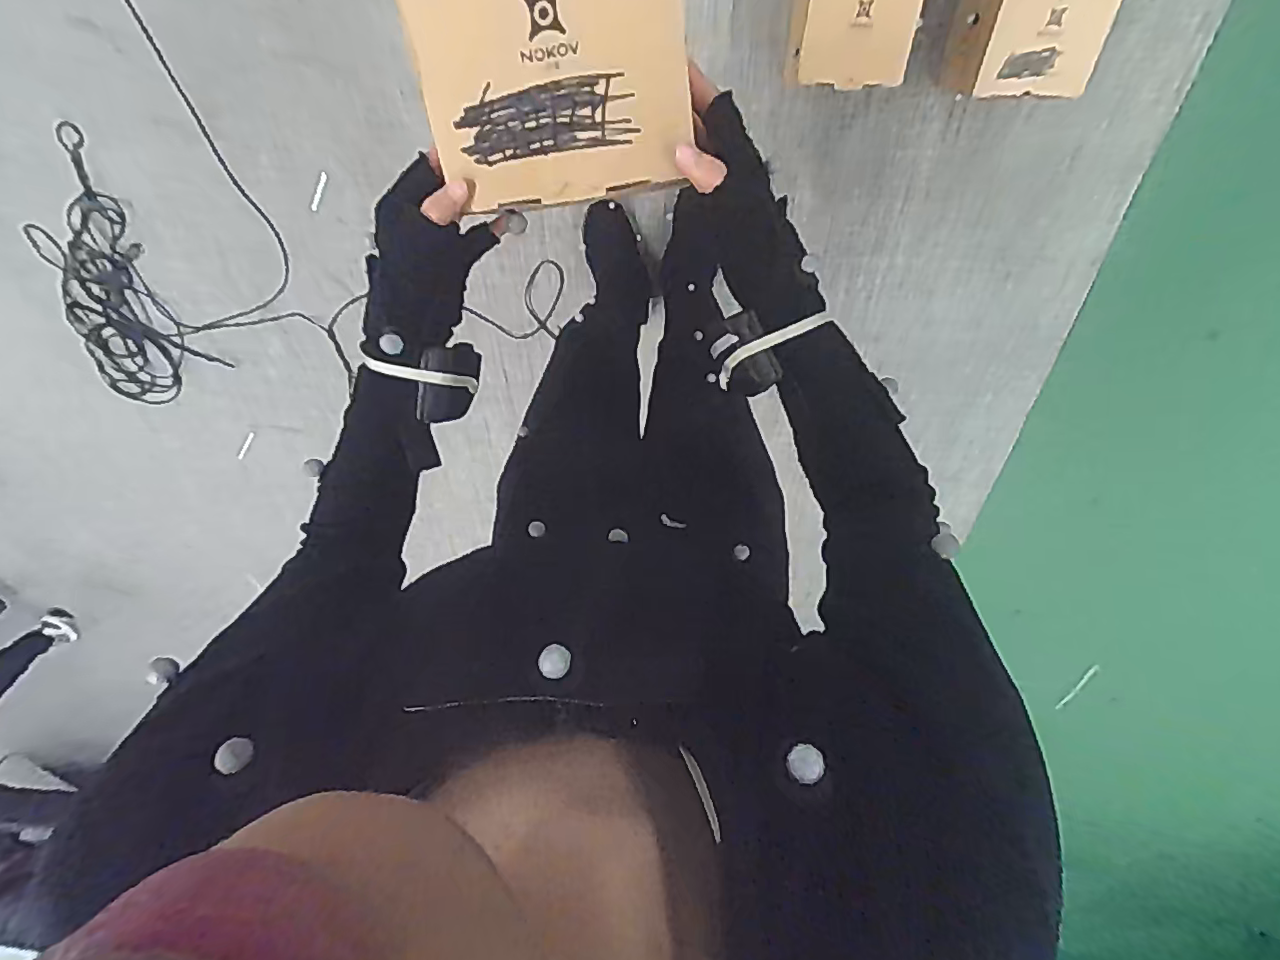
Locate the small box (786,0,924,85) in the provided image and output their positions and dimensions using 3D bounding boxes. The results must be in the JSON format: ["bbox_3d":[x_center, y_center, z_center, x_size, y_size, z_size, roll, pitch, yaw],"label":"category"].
[{"bbox_3d":[0.335,-0.739,0.854,0.168,0.176,0.179,4,130,3],"label":"small box"}]

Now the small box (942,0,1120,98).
[{"bbox_3d":[0.603,-0.714,0.845,0.168,0.176,0.179,3,129,3],"label":"small box"}]
